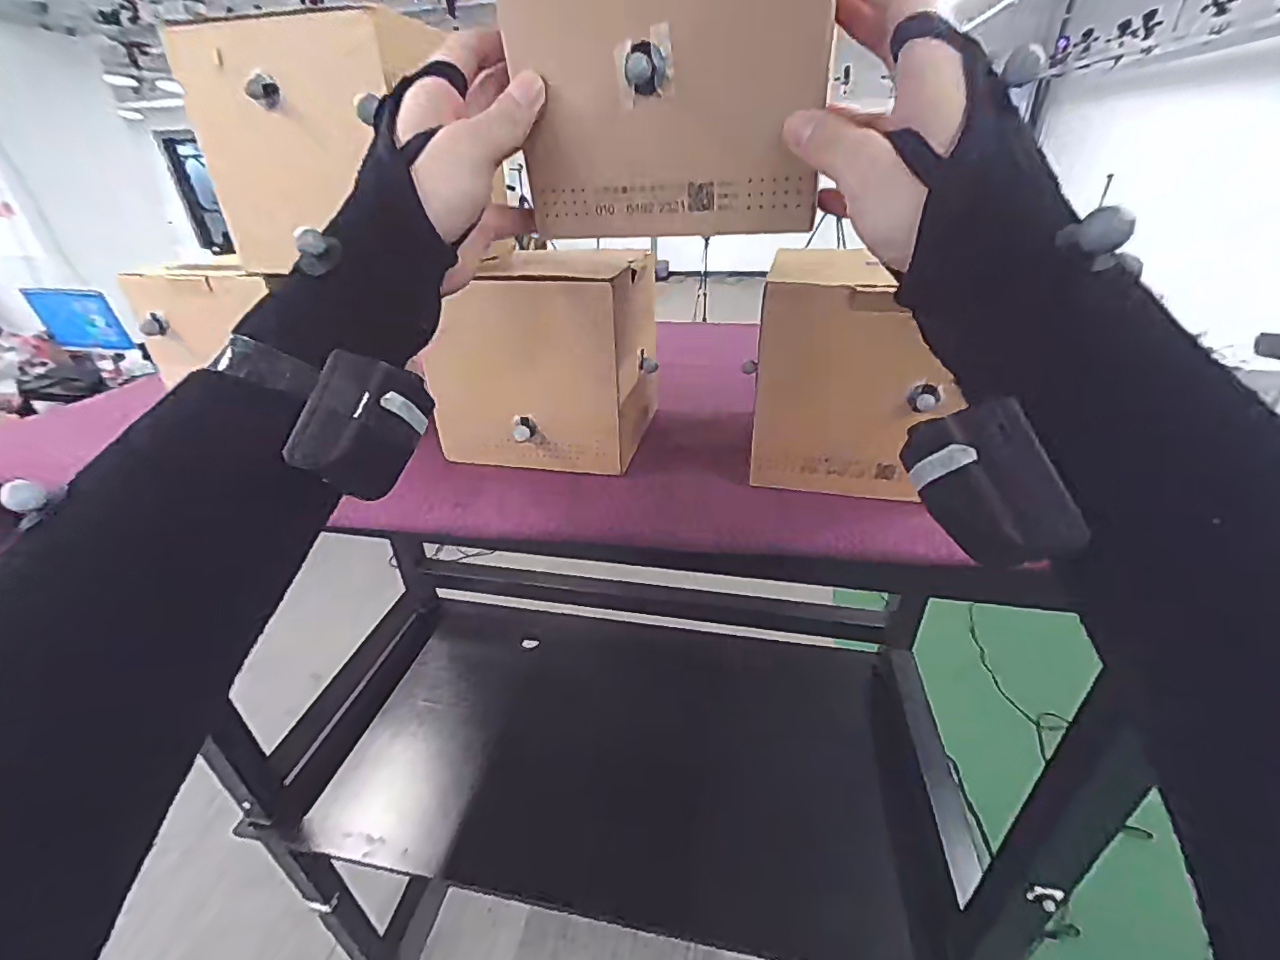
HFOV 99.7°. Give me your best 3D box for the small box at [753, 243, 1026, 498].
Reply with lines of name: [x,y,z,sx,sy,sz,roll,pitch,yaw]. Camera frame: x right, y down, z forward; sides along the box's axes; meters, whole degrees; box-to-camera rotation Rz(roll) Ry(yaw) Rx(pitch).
small box: [0.190,-0.100,0.463,0.168,0.176,0.179,6,31,15]

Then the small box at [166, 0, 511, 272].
small box: [-0.231,-0.277,0.465,0.179,0.176,0.168,6,30,12]

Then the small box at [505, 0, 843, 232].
small box: [0.034,-0.257,0.332,0.168,0.176,0.179,6,37,16]
